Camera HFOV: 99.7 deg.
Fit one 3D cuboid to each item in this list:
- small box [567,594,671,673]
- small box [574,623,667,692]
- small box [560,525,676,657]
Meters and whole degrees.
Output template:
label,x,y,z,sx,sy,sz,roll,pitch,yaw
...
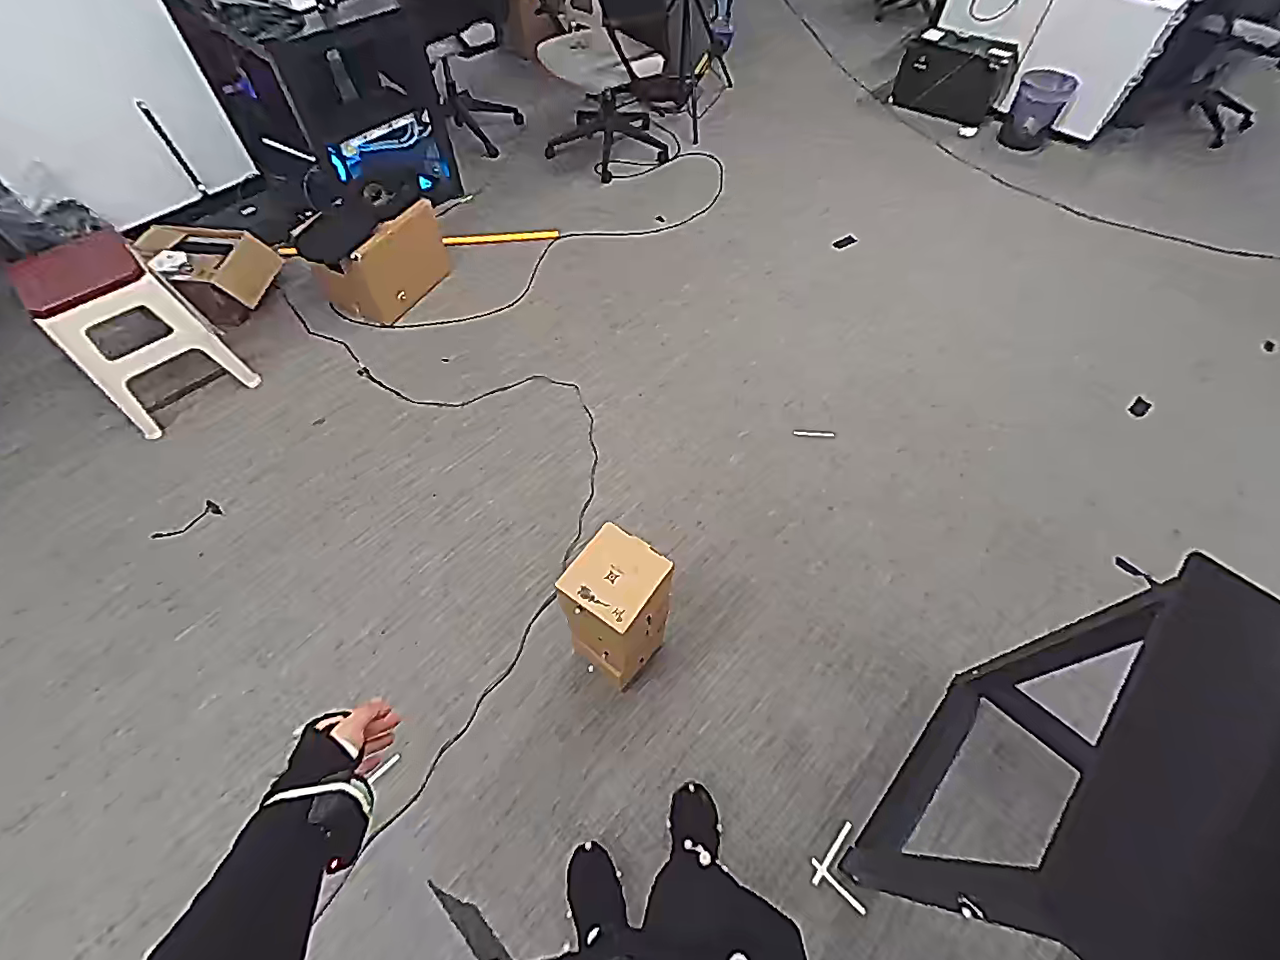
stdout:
label,x,y,z,sx,sy,sz,roll,pitch,yaw
small box,-0.045,0.319,1.257,0.168,0.176,0.179,33,61,18
small box,-0.050,0.412,1.389,0.168,0.176,0.179,36,64,21
small box,-0.045,0.232,1.117,0.168,0.176,0.179,31,61,18
